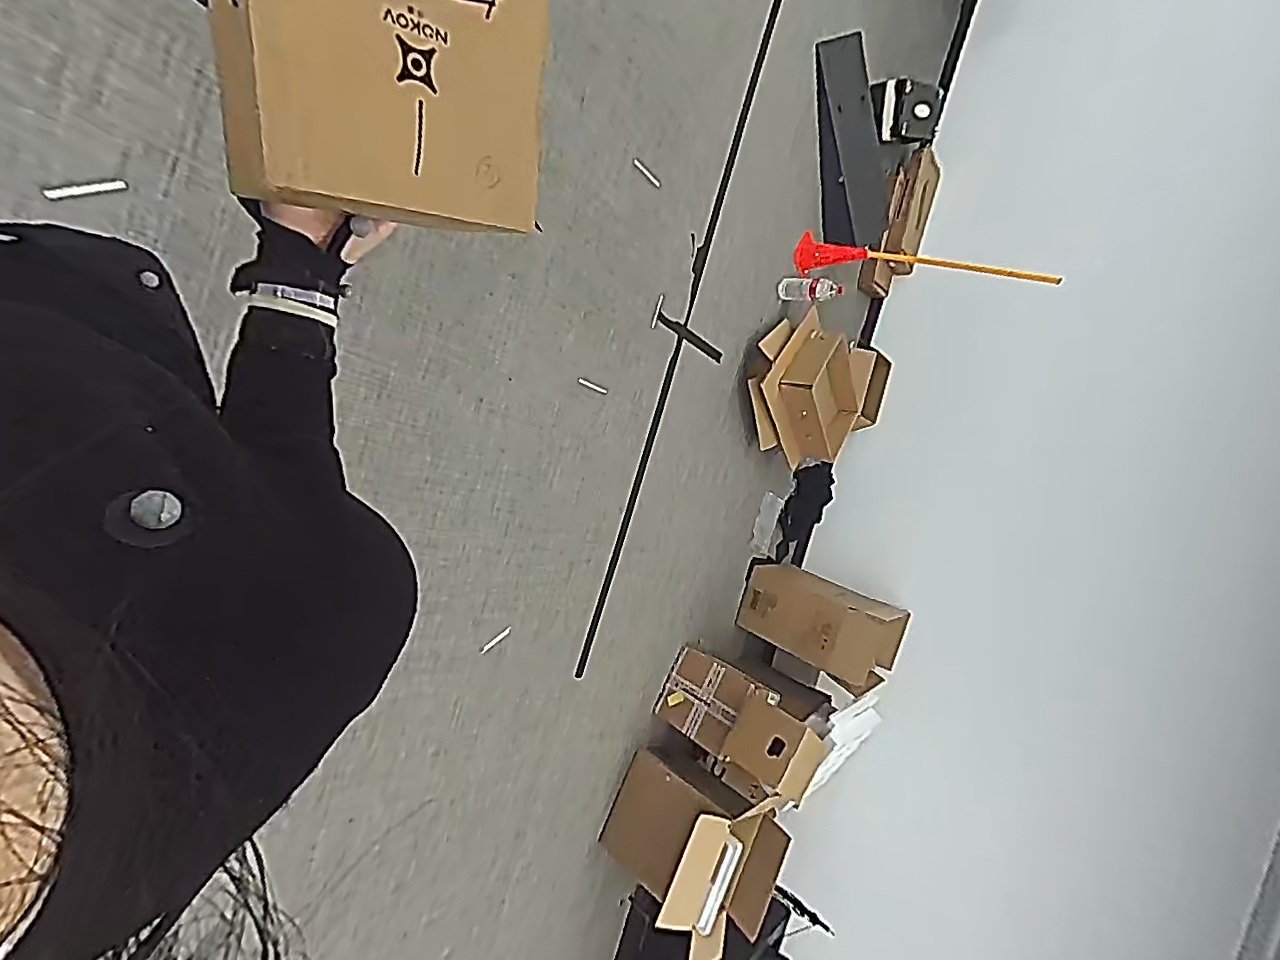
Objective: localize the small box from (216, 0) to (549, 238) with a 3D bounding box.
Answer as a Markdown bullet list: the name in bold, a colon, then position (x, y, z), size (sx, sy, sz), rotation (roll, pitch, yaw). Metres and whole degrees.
- **small box**: position (-0.182, -0.278, 0.378), size (0.168, 0.176, 0.179), rotation (-9, 116, -40)
